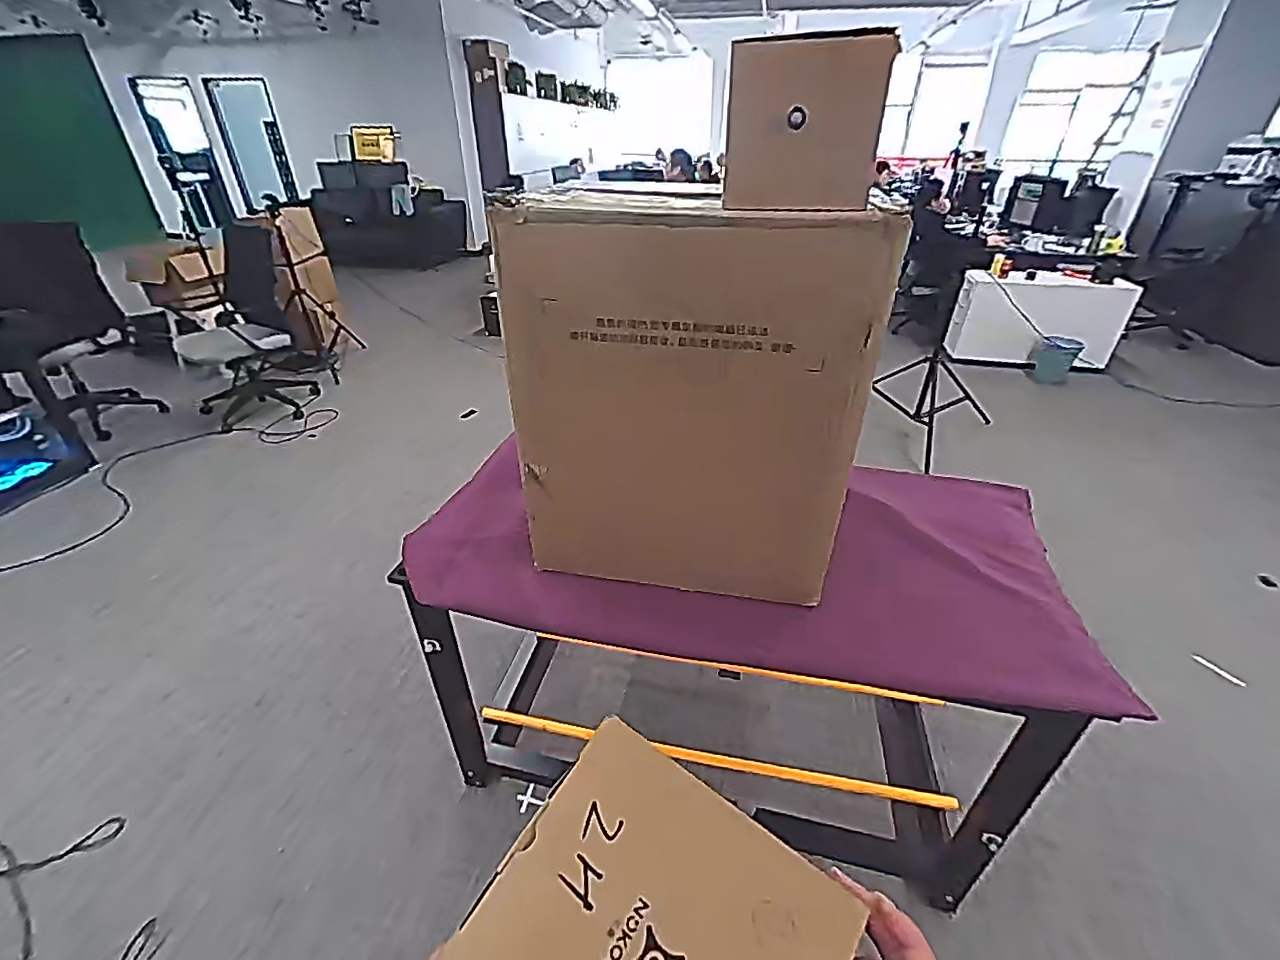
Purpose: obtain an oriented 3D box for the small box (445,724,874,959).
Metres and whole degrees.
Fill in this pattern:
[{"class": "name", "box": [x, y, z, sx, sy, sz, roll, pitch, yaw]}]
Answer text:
[{"class": "small box", "box": [0.014, 0.294, 0.339, 0.179, 0.176, 0.168, 26, 58, 26]}]
